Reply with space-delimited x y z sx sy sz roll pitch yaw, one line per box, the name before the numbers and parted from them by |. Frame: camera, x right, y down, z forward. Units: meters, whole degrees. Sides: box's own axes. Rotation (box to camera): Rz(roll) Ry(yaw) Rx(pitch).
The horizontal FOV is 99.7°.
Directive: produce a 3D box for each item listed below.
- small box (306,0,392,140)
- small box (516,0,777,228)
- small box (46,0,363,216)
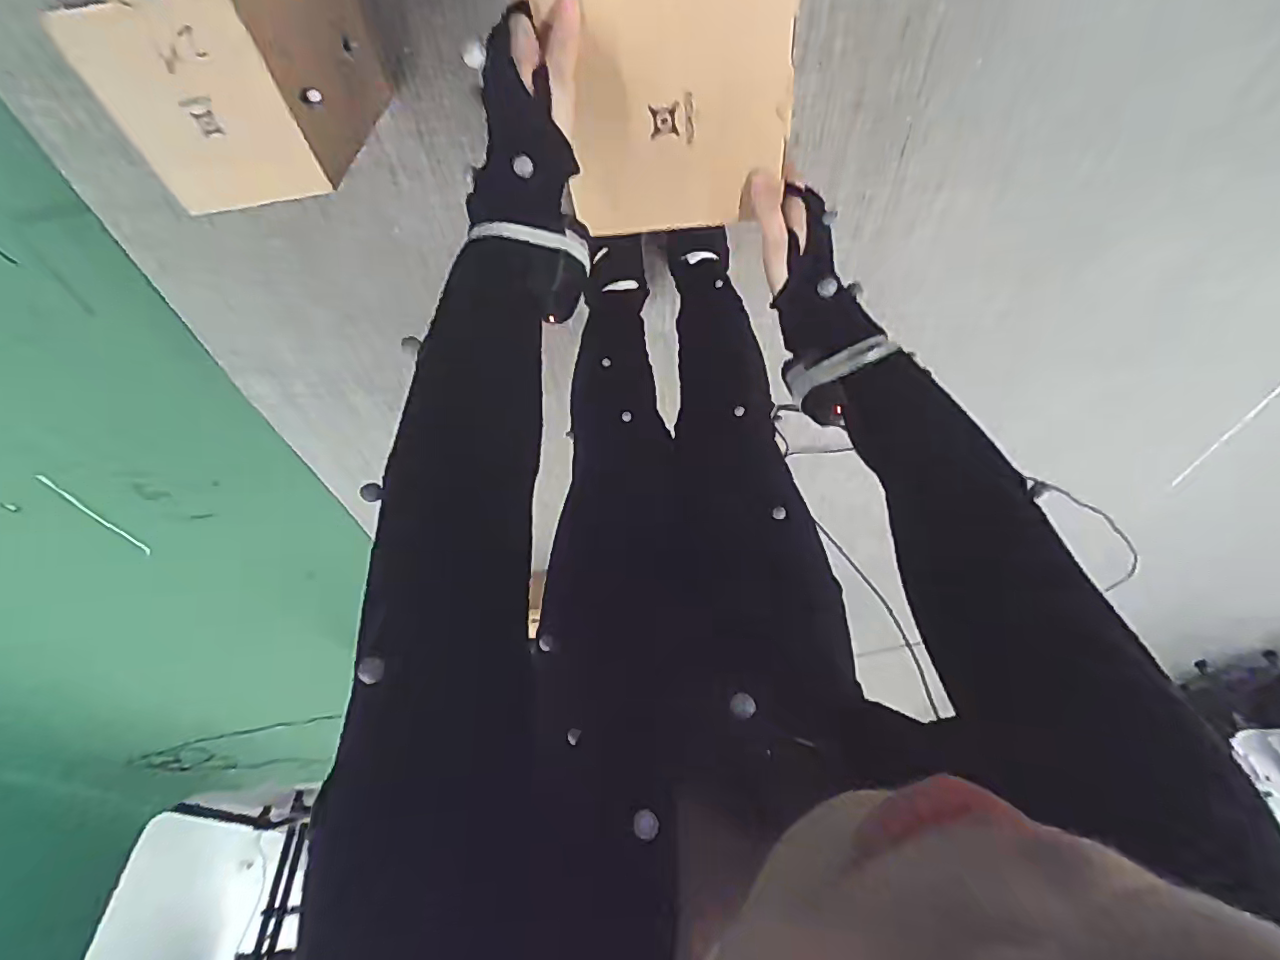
small box | -0.439 -0.548 0.680 0.168 0.176 0.179 -6 141 1
small box | 0.016 -0.340 0.458 0.179 0.176 0.168 -2 143 8
small box | -0.431 -0.418 0.580 0.168 0.176 0.179 -8 141 2
